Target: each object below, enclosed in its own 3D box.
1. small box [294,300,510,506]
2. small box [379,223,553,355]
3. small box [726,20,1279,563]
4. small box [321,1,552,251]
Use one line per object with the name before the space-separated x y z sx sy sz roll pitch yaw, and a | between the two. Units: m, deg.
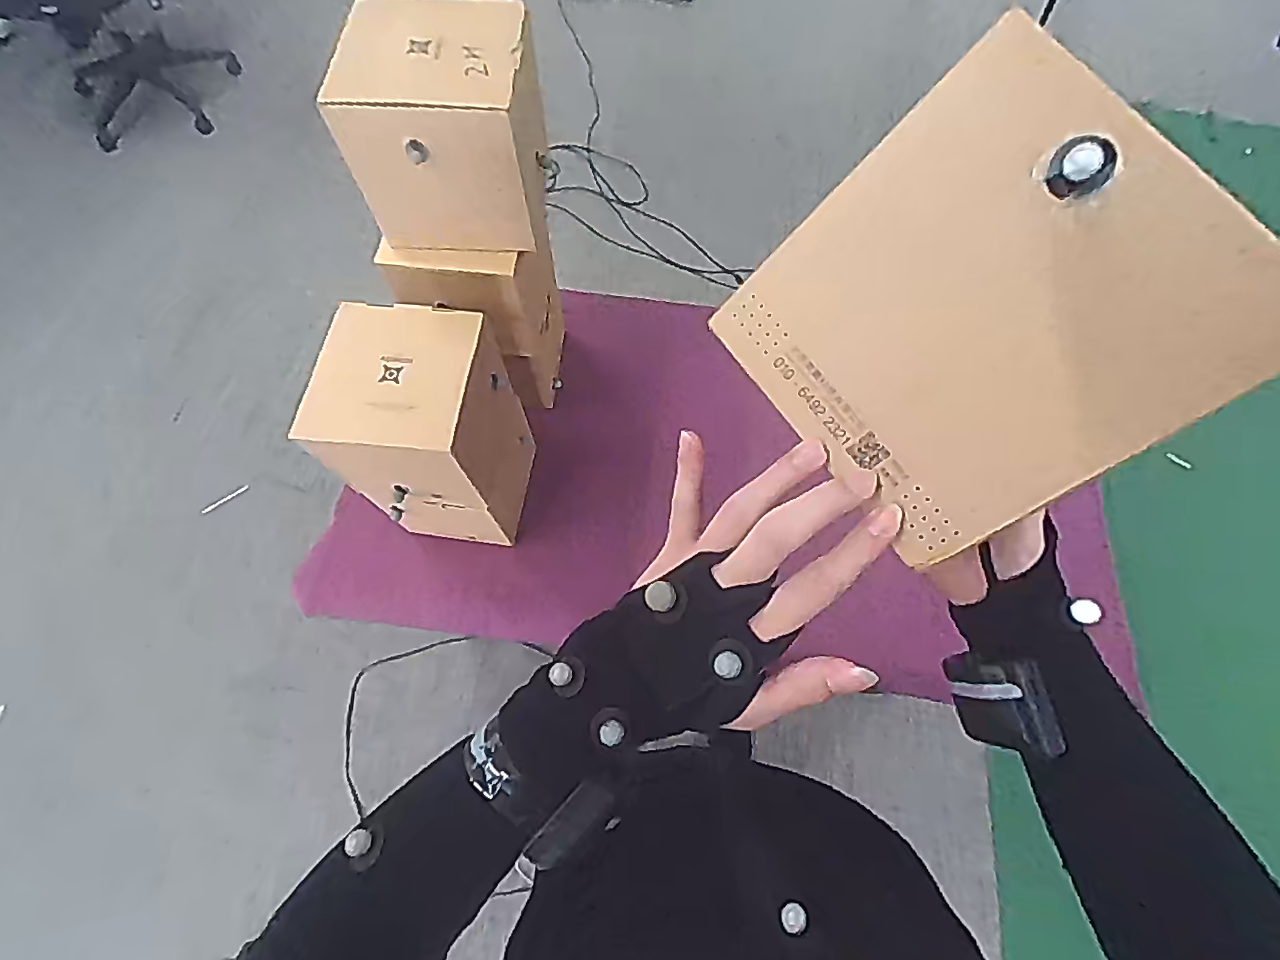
small box | -0.261 -0.084 0.647 0.168 0.176 0.179 5 68 1
small box | -0.218 -0.291 0.733 0.168 0.176 0.179 5 67 1
small box | 0.176 -0.080 0.305 0.176 0.179 0.168 -42 78 28
small box | -0.201 -0.375 0.591 0.179 0.176 0.168 2 68 -1
